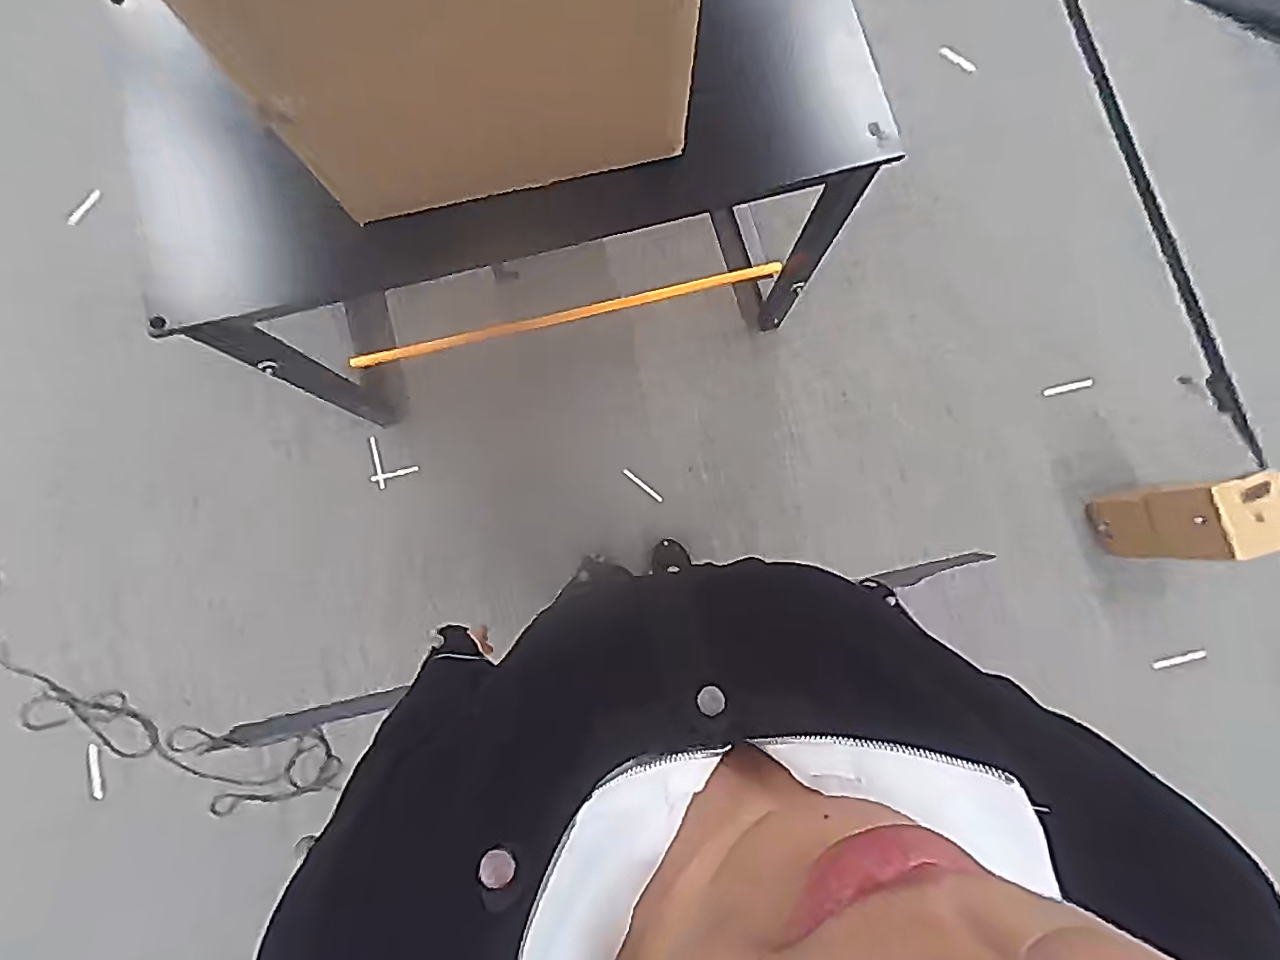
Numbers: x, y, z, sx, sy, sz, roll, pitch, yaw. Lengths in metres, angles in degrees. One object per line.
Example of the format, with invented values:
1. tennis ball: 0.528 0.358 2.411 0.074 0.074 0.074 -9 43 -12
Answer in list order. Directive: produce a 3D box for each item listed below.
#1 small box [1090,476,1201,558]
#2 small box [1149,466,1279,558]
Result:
1. small box: 1.370 0.100 1.440 0.179 0.176 0.168 -19 83 -1
2. small box: 1.371 0.080 1.276 0.168 0.176 0.179 -15 84 -2
